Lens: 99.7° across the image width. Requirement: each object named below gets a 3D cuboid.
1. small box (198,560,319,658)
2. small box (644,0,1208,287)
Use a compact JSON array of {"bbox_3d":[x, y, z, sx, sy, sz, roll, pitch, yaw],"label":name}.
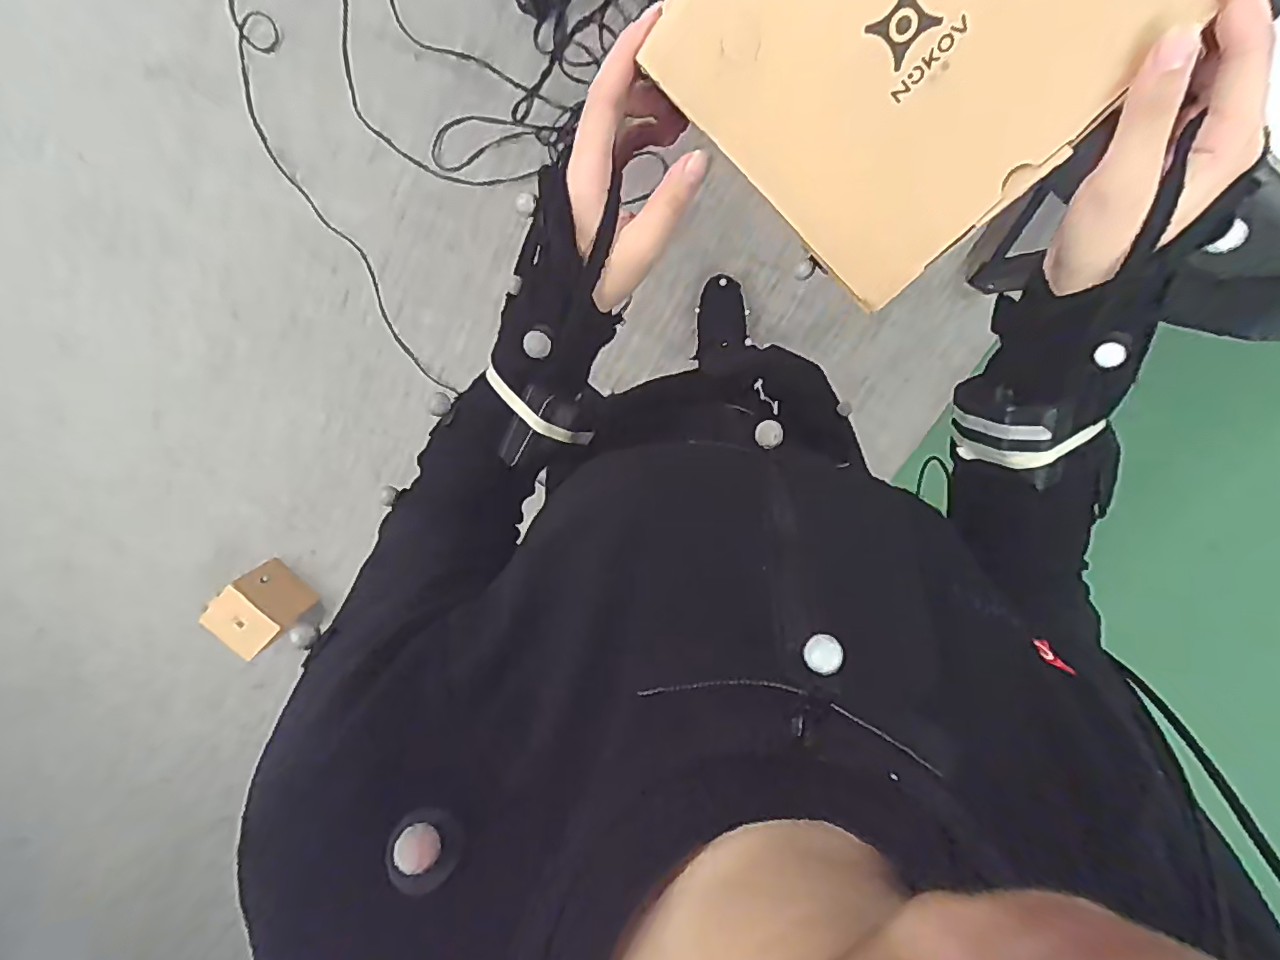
[{"bbox_3d":[-1.044,0.344,1.493,0.168,0.176,0.179,-42,100,15],"label":"small box"},{"bbox_3d":[0.124,-0.242,0.296,0.179,0.176,0.168,37,120,-17],"label":"small box"}]
